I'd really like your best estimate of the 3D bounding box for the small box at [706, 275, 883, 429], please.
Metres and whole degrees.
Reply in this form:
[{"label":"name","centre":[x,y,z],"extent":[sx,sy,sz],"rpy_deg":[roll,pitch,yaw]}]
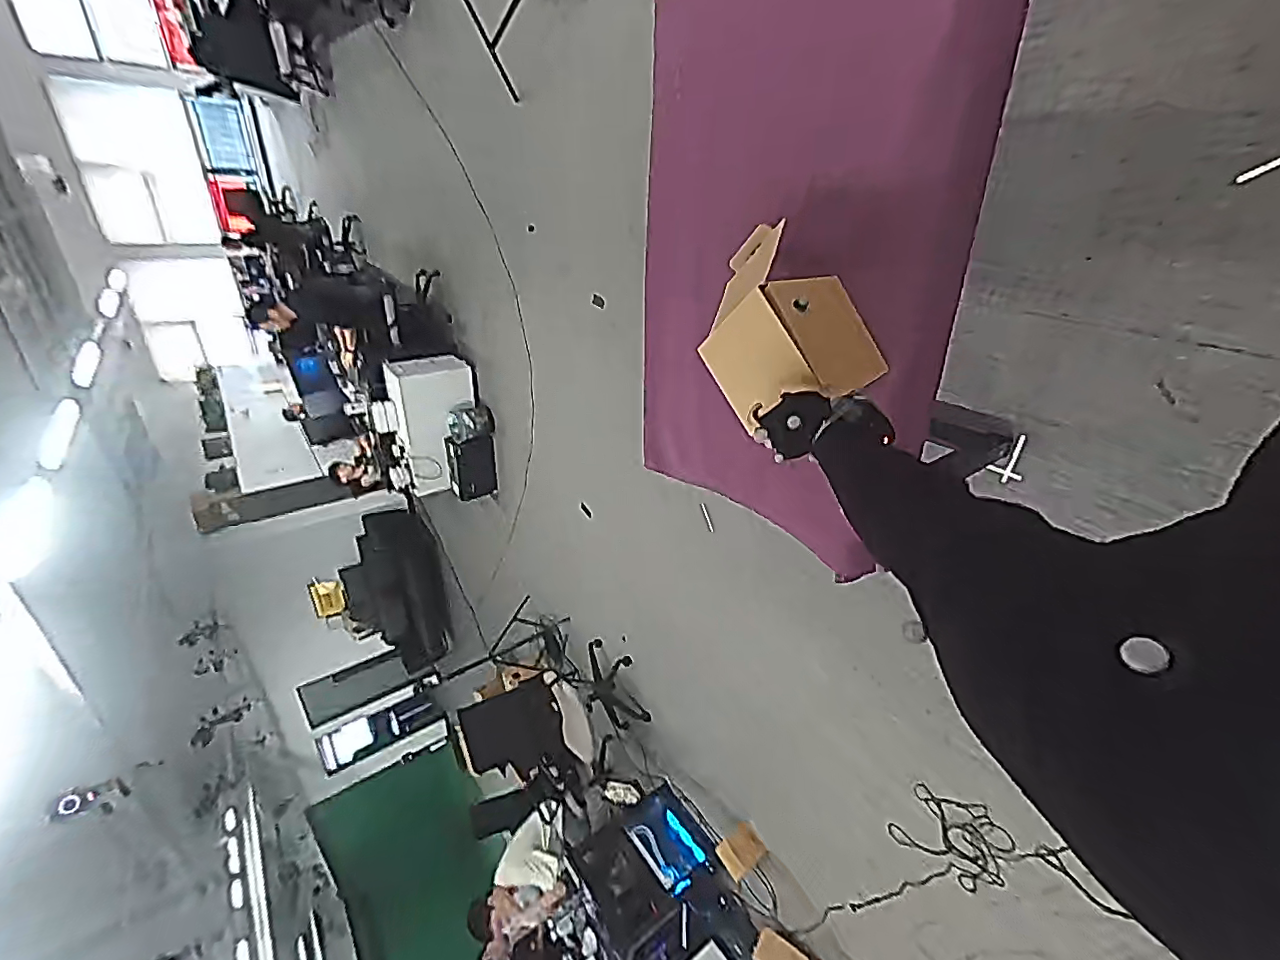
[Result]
[{"label":"small box","centre":[0.243,-0.204,0.859],"extent":[0.168,0.176,0.179],"rpy_deg":[-40,71,57]}]
